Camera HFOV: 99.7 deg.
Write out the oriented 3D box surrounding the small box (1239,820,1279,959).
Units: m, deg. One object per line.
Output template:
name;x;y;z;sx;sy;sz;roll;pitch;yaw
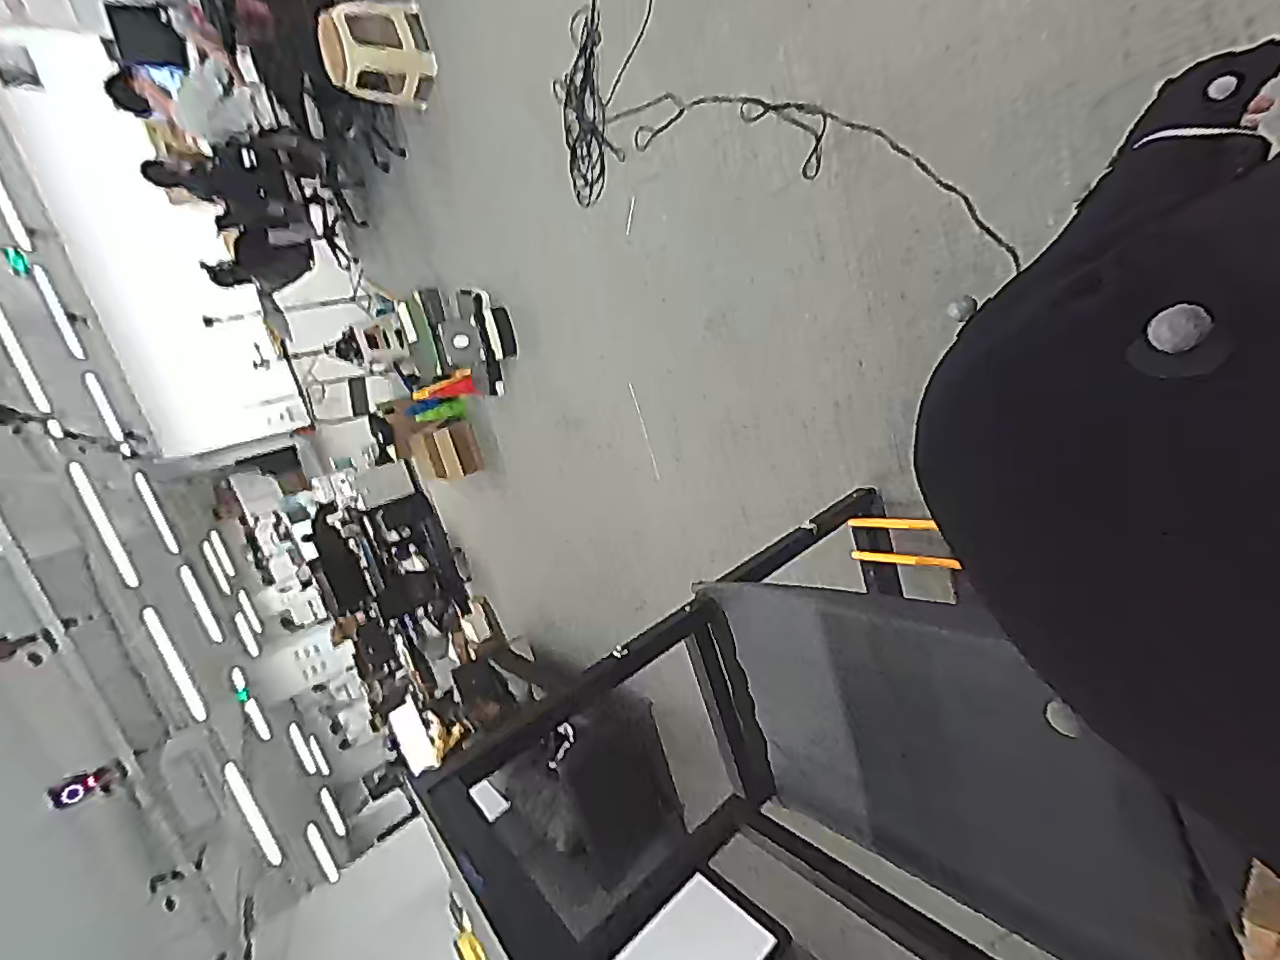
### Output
small box;0.725;0.491;0.535;0.168;0.176;0.179;3;112;54
